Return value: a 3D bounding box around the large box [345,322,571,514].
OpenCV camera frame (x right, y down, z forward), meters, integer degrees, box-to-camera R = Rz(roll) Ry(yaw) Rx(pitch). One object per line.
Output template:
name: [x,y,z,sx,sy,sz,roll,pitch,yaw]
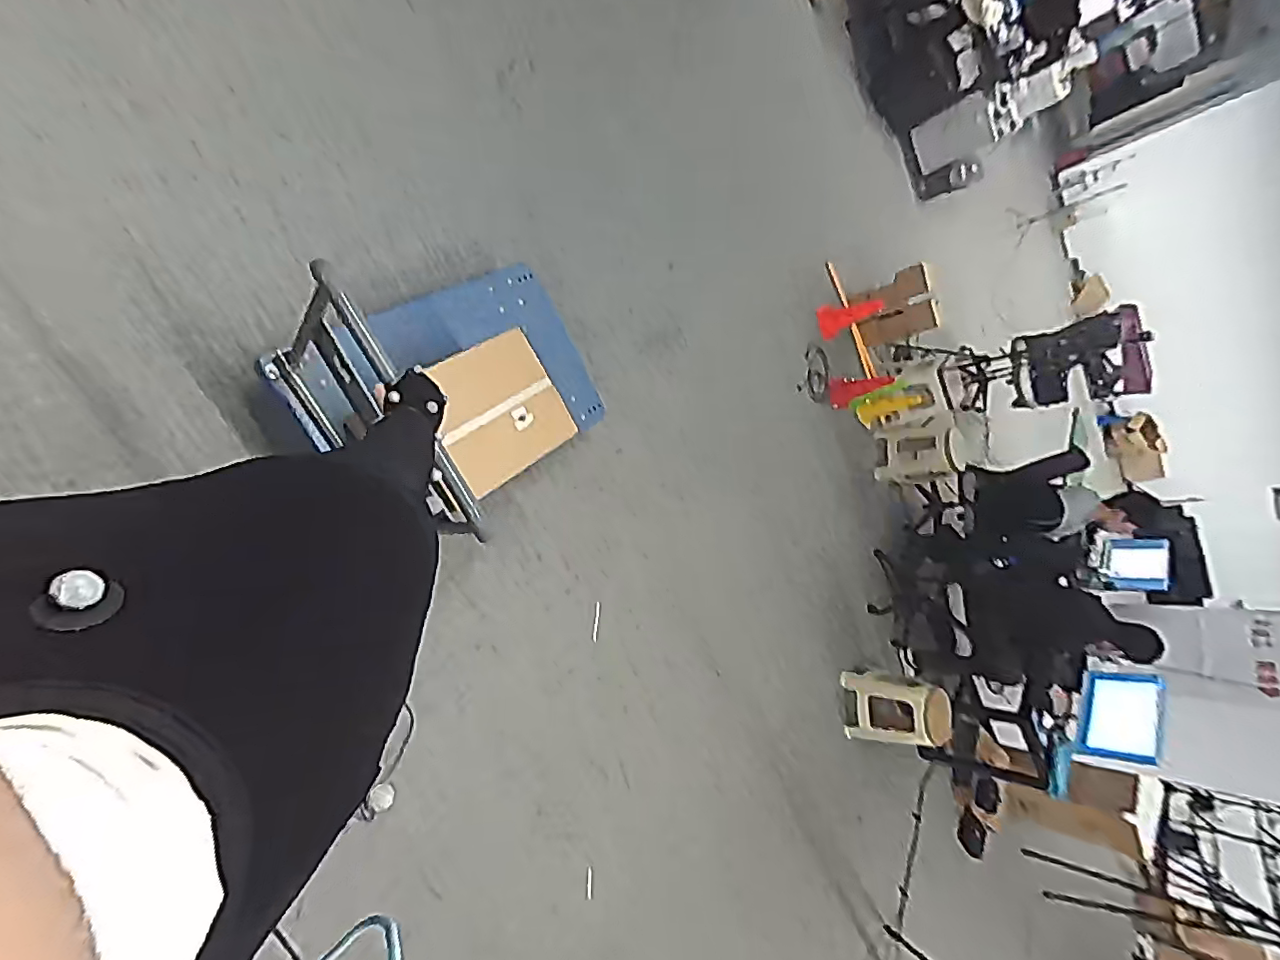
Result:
large box: [-0.470,-0.155,1.419,0.408,0.320,0.320,-41,110,-38]
